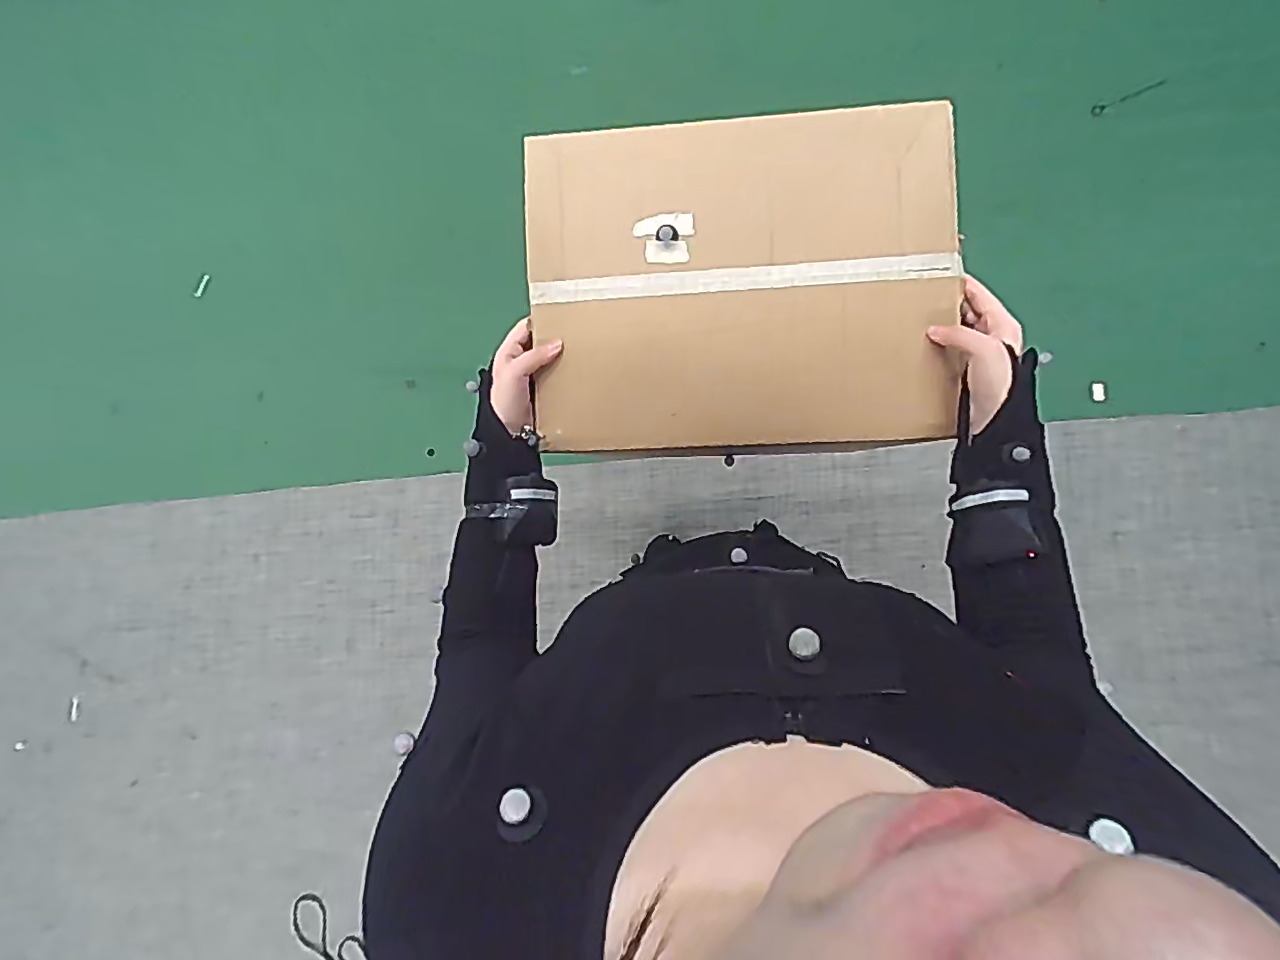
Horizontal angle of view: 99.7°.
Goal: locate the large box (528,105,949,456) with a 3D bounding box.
[{"bbox_3d":[0.108,-0.194,0.679,0.408,0.320,0.320,-2,91,7],"label":"large box"}]
